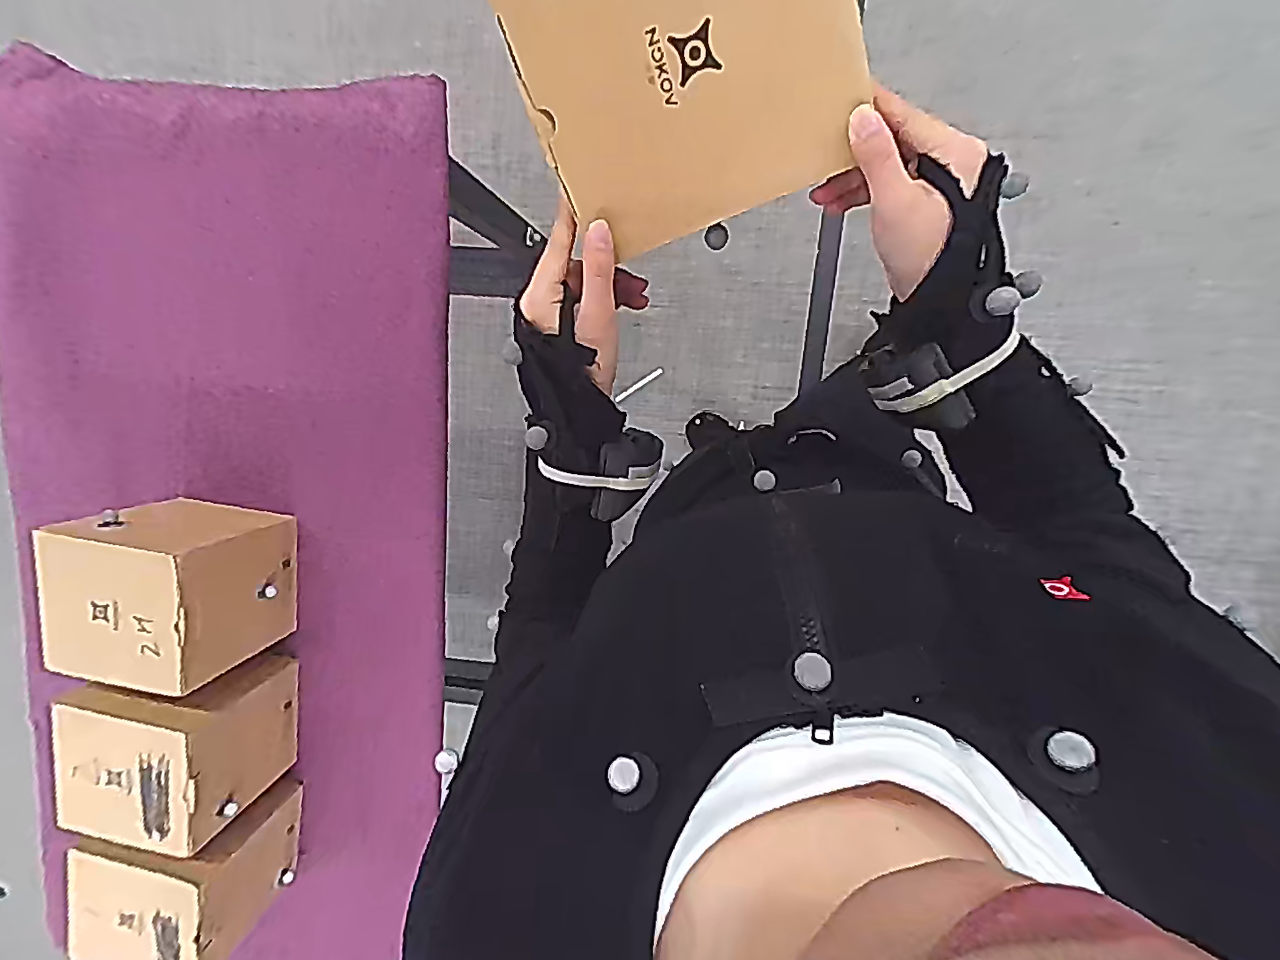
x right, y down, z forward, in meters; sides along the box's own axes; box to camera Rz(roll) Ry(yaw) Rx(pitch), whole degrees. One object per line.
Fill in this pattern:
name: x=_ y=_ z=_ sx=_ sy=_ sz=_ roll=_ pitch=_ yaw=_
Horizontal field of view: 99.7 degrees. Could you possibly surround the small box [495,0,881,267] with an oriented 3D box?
small box: x=0.029 y=-0.259 z=0.353 sx=0.179 sy=0.176 sz=0.168 roll=-17 pitch=115 yaw=12
